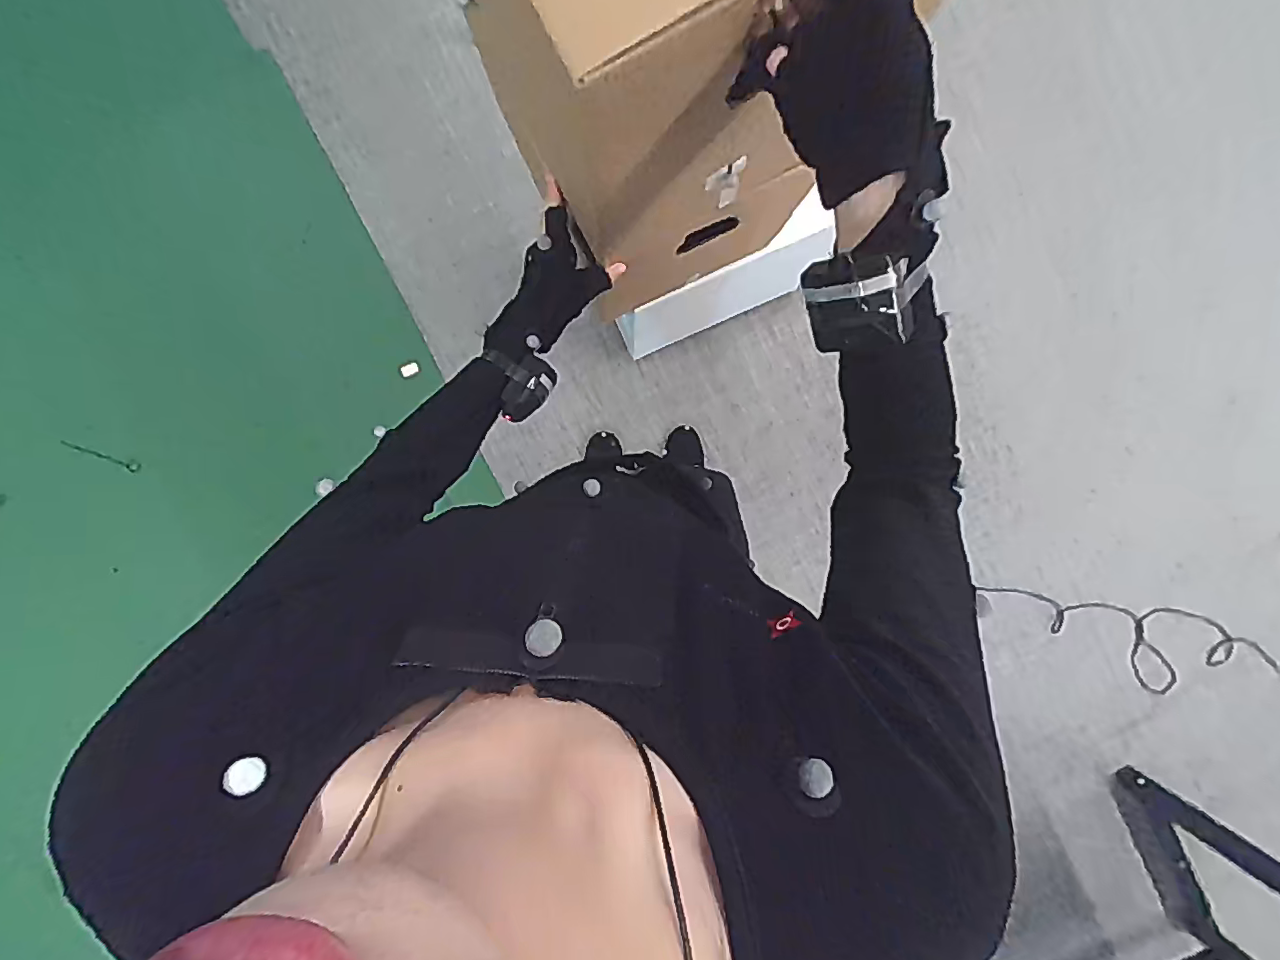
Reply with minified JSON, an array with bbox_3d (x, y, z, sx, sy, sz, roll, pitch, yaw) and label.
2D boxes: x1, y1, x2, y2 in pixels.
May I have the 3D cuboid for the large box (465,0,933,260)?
[{"bbox_3d":[0.002,-0.468,0.424,0.320,0.320,0.408,-28,93,1],"label":"large box"}]
